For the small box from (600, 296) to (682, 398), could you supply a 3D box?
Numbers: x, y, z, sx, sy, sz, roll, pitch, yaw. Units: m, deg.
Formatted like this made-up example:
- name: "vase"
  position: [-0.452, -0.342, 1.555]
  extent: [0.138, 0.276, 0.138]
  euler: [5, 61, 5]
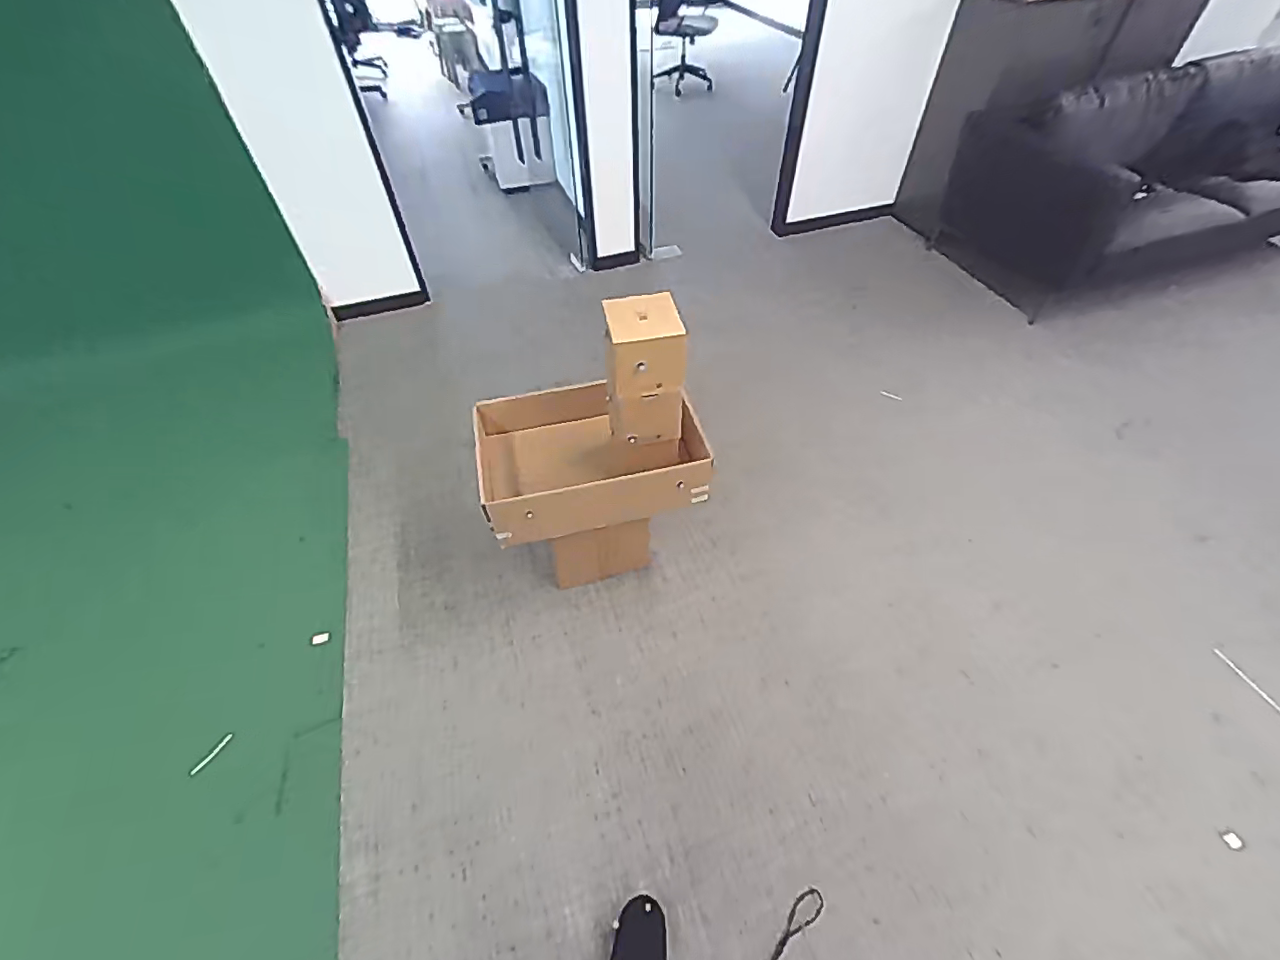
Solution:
- name: "small box"
  position: [0.004, -0.311, 1.293]
  extent: [0.168, 0.176, 0.179]
  euler: [-9, 50, -6]

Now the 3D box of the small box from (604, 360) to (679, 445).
- name: "small box"
  position: [0.004, -0.206, 1.417]
  extent: [0.168, 0.176, 0.179]
  euler: [-9, 50, -7]
